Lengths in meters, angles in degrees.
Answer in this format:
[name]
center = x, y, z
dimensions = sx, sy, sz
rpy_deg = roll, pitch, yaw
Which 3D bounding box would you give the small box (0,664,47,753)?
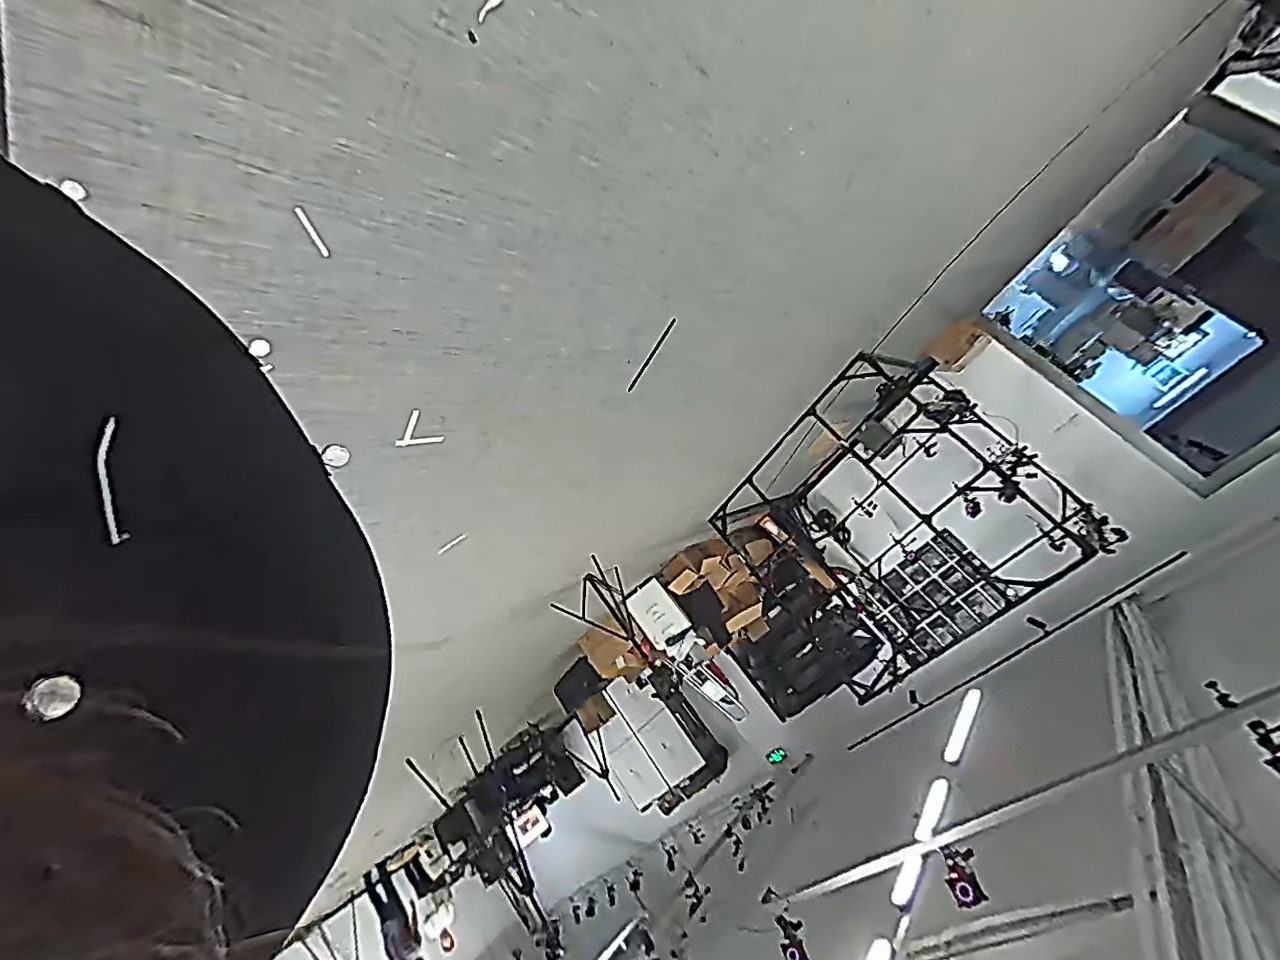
[small box]
center = -1.730, 0.620, 1.442
dimensions = 0.168, 0.176, 0.179
rpy_deg = -15, 148, -47
